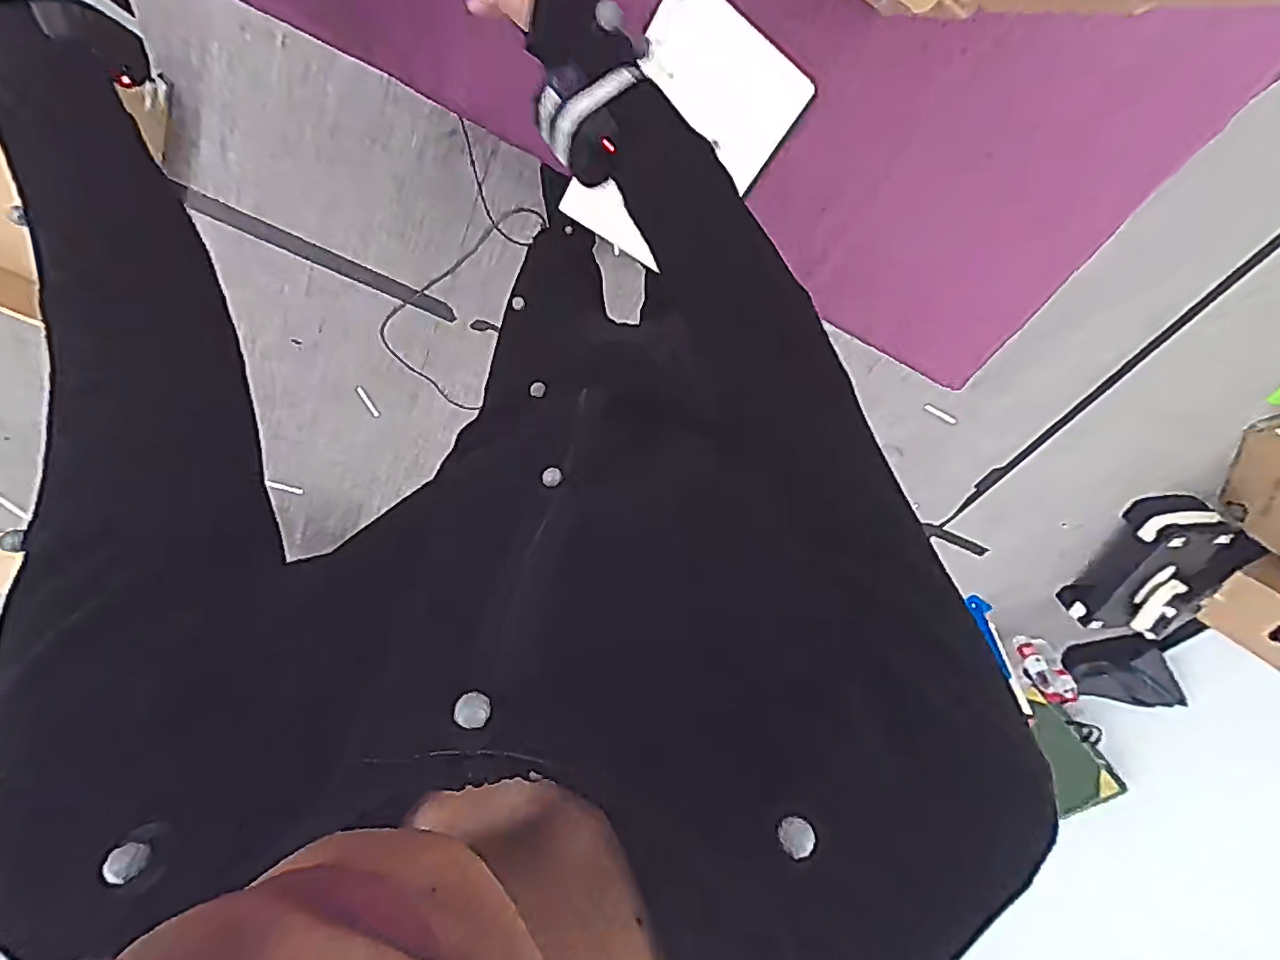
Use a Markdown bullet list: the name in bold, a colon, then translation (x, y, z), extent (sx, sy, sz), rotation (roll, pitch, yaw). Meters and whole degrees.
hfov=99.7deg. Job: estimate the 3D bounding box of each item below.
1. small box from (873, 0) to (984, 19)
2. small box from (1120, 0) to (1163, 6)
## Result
- **small box**: translation (0.238, -0.516, 0.430), extent (0.168, 0.176, 0.179), rotation (20, 126, -22)
- **small box**: translation (0.257, -0.411, 0.305), extent (0.179, 0.176, 0.168), rotation (18, 127, -22)
